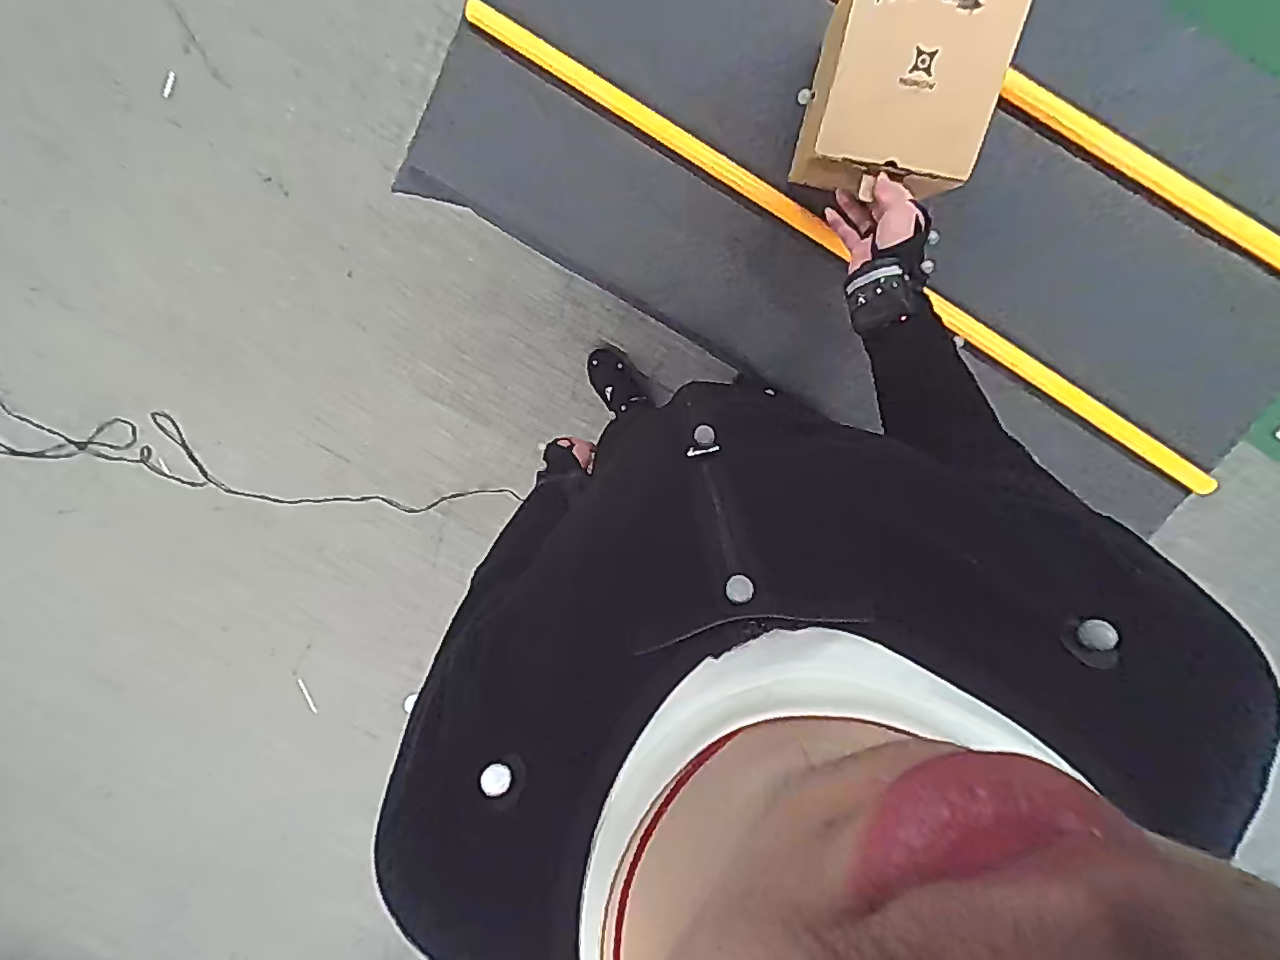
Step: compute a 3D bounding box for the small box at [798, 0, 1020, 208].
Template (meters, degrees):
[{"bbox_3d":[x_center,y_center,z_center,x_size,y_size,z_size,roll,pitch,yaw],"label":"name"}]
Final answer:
[{"bbox_3d":[0.288,-0.428,0.629,0.168,0.176,0.179,10,111,6],"label":"small box"}]
